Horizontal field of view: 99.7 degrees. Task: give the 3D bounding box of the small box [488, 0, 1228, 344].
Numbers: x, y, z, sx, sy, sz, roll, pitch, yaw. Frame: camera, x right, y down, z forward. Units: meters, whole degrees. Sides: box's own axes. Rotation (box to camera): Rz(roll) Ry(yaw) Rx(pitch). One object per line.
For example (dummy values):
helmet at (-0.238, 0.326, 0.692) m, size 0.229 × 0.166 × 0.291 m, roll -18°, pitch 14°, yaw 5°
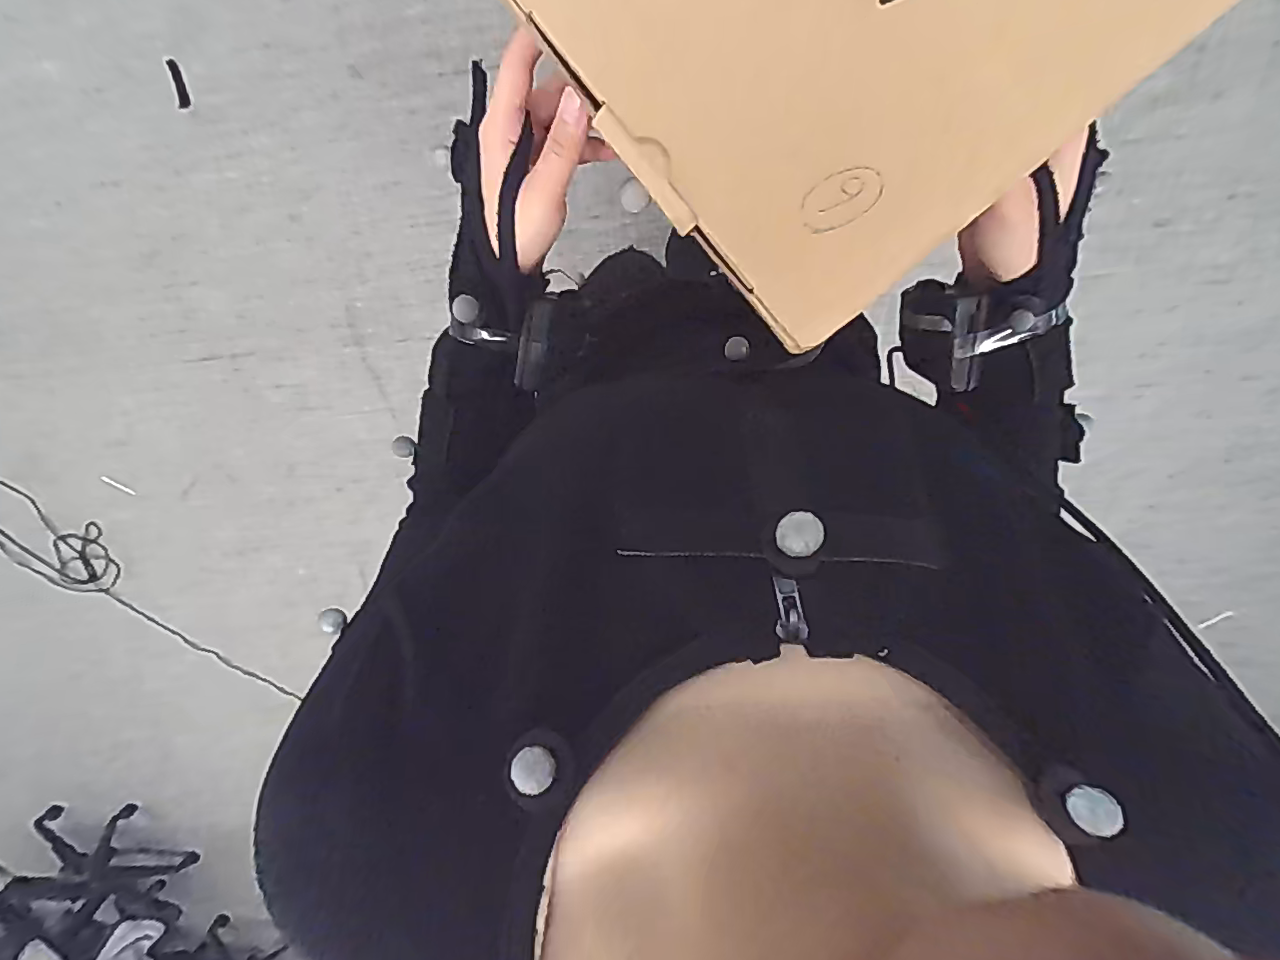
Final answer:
small box at (0.067, -0.188, 0.216) m, size 0.179 × 0.176 × 0.168 m, roll -39°, pitch 109°, yaw 21°
